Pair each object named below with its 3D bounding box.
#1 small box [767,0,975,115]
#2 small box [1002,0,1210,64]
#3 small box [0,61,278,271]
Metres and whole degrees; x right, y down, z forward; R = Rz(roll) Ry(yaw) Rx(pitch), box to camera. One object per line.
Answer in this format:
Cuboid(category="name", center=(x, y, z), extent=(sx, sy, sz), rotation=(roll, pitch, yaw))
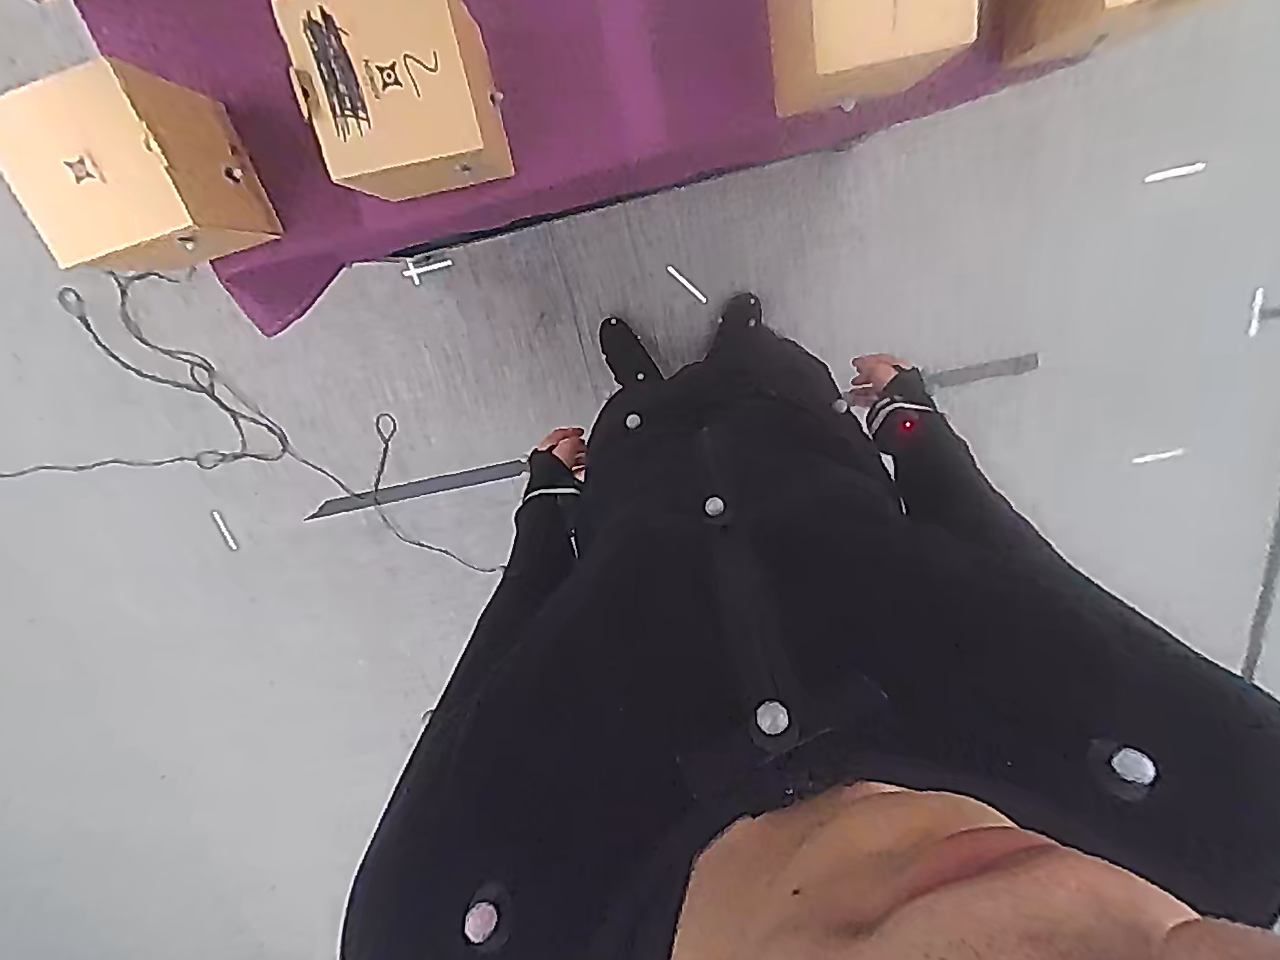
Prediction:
Cuboid(category="small box", center=(0.242, -0.540, 0.597), extent=(0.168, 0.176, 0.179), rotation=(-10, 111, 4))
Cuboid(category="small box", center=(0.521, -0.591, 0.577), extent=(0.168, 0.176, 0.179), rotation=(-9, 110, 4))
Cuboid(category="small box", center=(-0.602, -0.362, 0.662), extent=(0.179, 0.176, 0.168), rotation=(-16, 110, 4))
